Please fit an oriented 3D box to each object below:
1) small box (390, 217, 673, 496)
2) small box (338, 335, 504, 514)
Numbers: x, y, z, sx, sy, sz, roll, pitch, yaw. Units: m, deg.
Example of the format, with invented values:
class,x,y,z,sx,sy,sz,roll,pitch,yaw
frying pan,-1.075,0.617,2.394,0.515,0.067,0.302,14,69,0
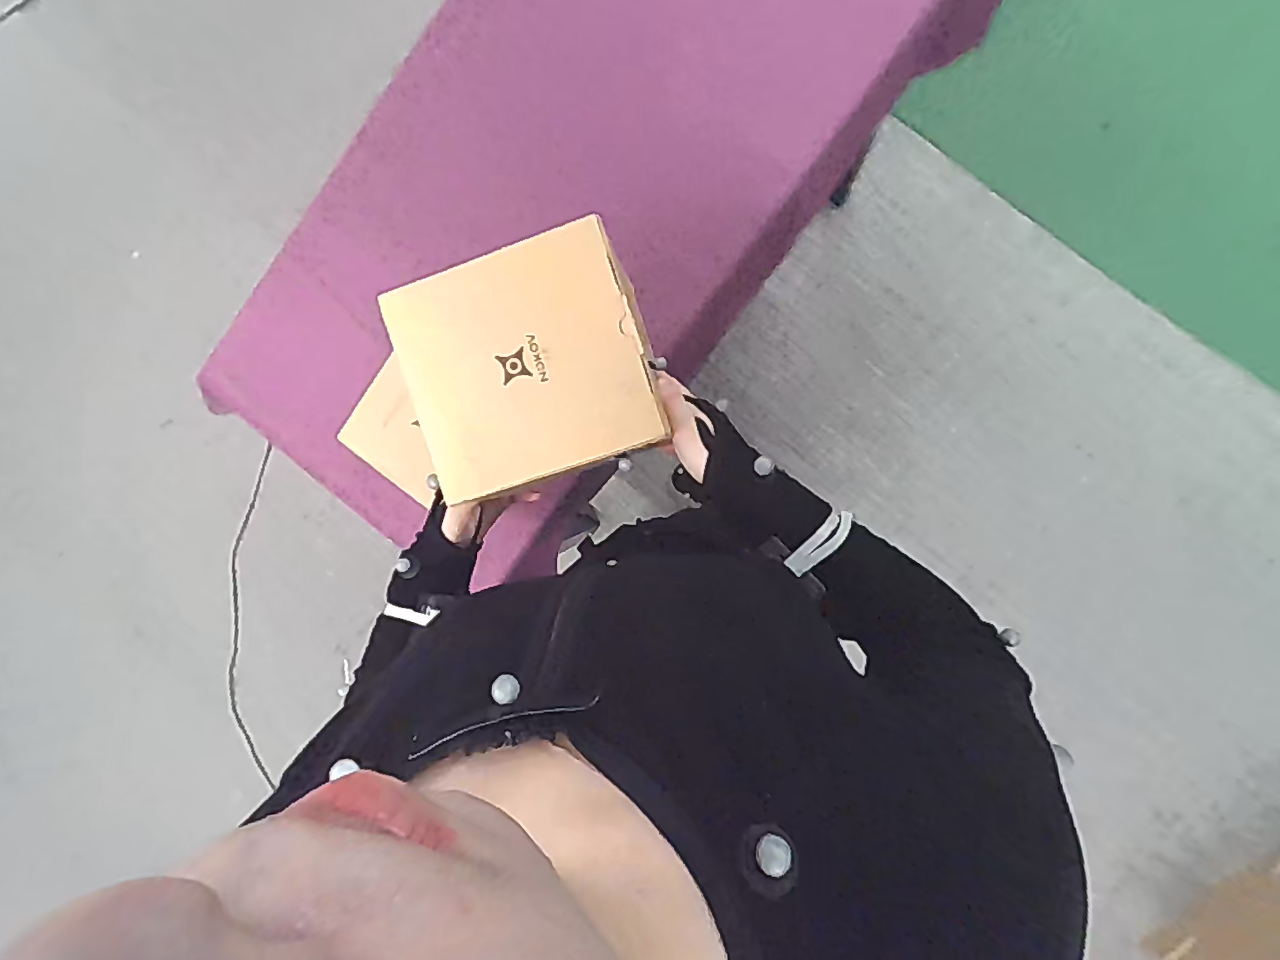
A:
class,x,y,z,sx,sy,sz,roll,pitch,yaw
small box,-0.075,-0.090,0.473,0.179,0.176,0.168,-17,92,5
small box,-0.247,-0.074,0.729,0.179,0.176,0.168,36,94,6
